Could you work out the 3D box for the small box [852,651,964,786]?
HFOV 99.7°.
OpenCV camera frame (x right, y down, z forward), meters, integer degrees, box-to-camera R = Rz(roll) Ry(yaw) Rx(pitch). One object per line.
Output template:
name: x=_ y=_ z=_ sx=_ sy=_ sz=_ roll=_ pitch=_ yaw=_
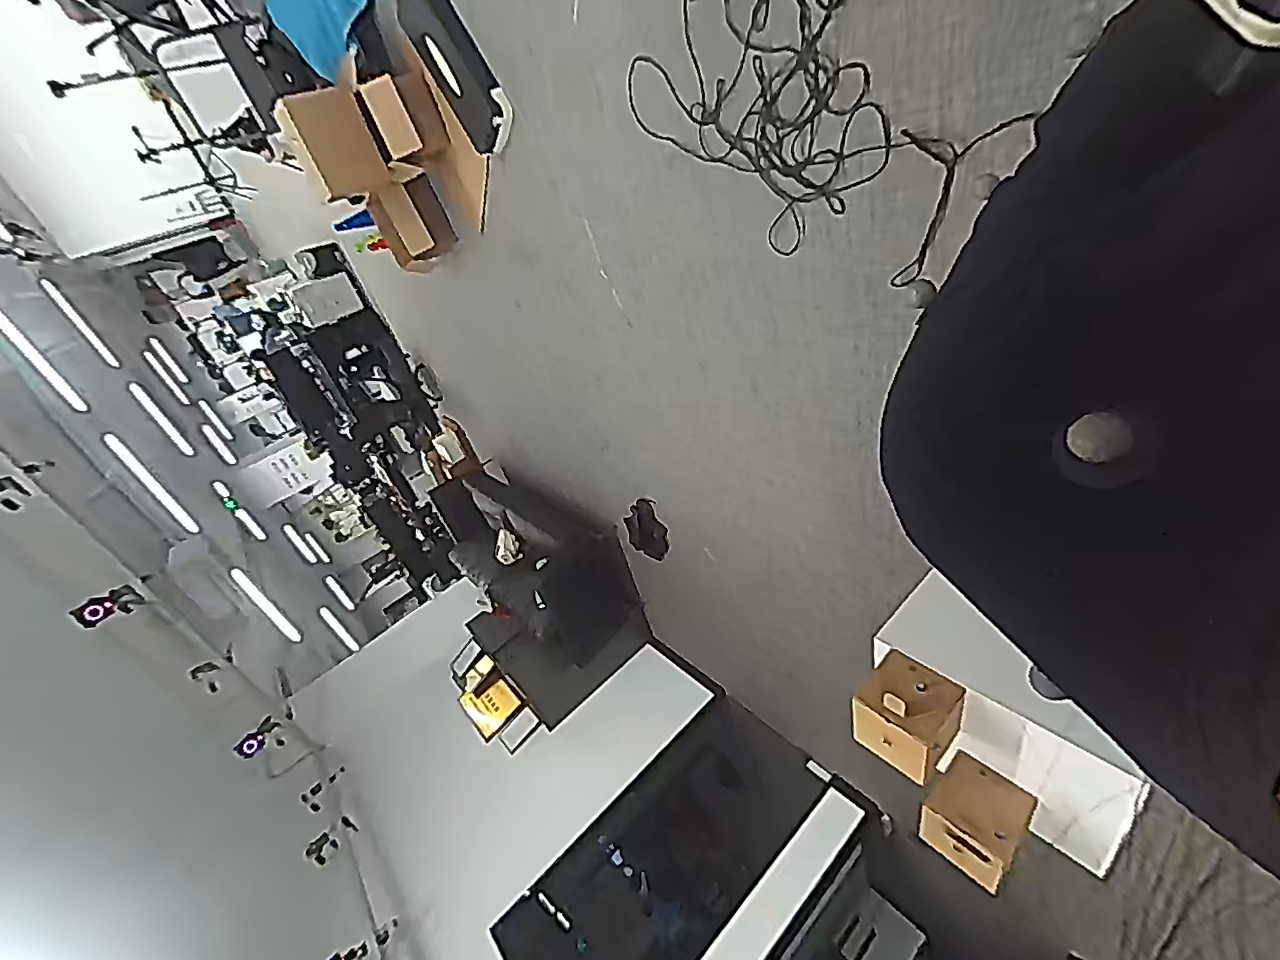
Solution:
small box: x=0.594 y=0.524 z=1.202 sx=0.168 sy=0.176 sz=0.179 roll=26 pitch=143 yaw=46
